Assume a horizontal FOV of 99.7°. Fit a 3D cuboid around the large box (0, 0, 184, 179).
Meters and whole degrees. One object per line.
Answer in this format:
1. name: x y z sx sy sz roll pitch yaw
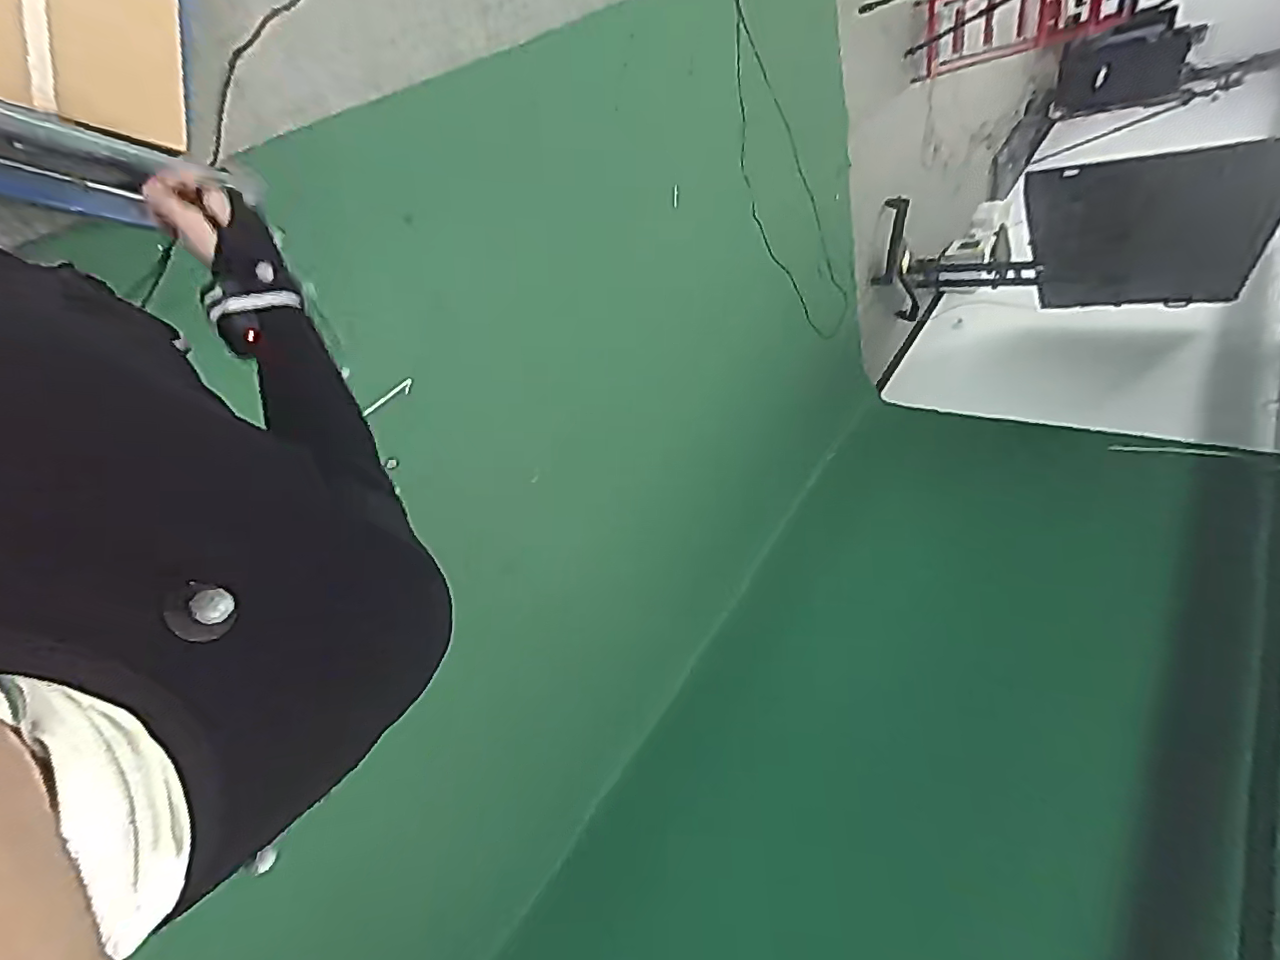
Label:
1. large box: -0.933 -0.732 0.814 0.320 0.320 0.408 -8 108 -49
